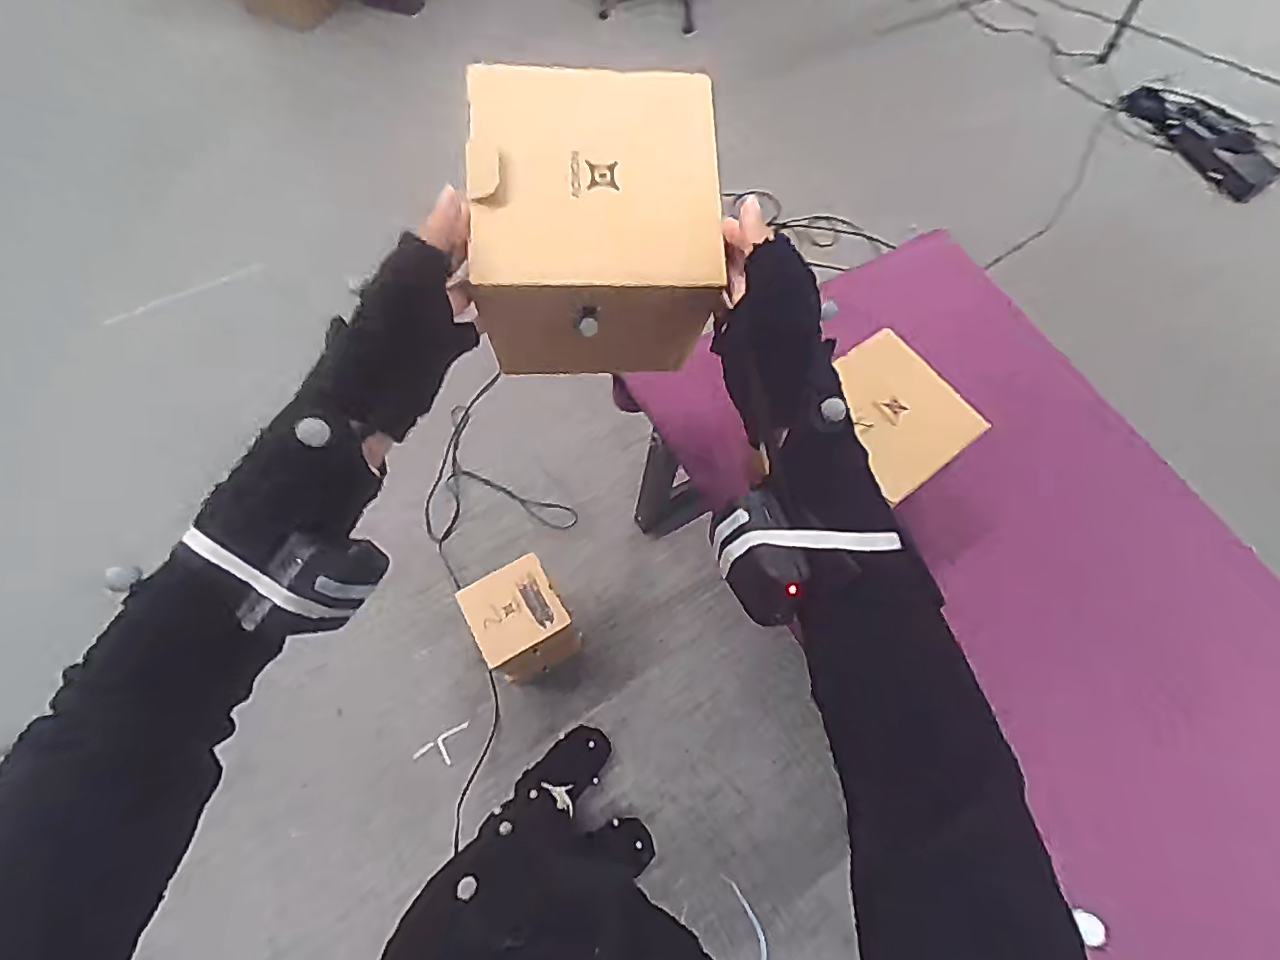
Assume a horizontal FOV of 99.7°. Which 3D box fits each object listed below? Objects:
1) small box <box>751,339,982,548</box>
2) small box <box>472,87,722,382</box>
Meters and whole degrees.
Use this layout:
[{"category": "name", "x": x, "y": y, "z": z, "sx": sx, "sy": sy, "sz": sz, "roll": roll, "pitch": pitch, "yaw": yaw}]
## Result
[{"category": "small box", "x": 0.273, "y": -0.039, "z": 0.691, "sx": 0.179, "sy": 0.176, "sz": 0.168, "roll": -32, "pitch": 75, "yaw": -18}, {"category": "small box", "x": -0.040, "y": -0.188, "z": 0.462, "sx": 0.179, "sy": 0.176, "sz": 0.168, "roll": -2, "pitch": 82, "yaw": -6}]
